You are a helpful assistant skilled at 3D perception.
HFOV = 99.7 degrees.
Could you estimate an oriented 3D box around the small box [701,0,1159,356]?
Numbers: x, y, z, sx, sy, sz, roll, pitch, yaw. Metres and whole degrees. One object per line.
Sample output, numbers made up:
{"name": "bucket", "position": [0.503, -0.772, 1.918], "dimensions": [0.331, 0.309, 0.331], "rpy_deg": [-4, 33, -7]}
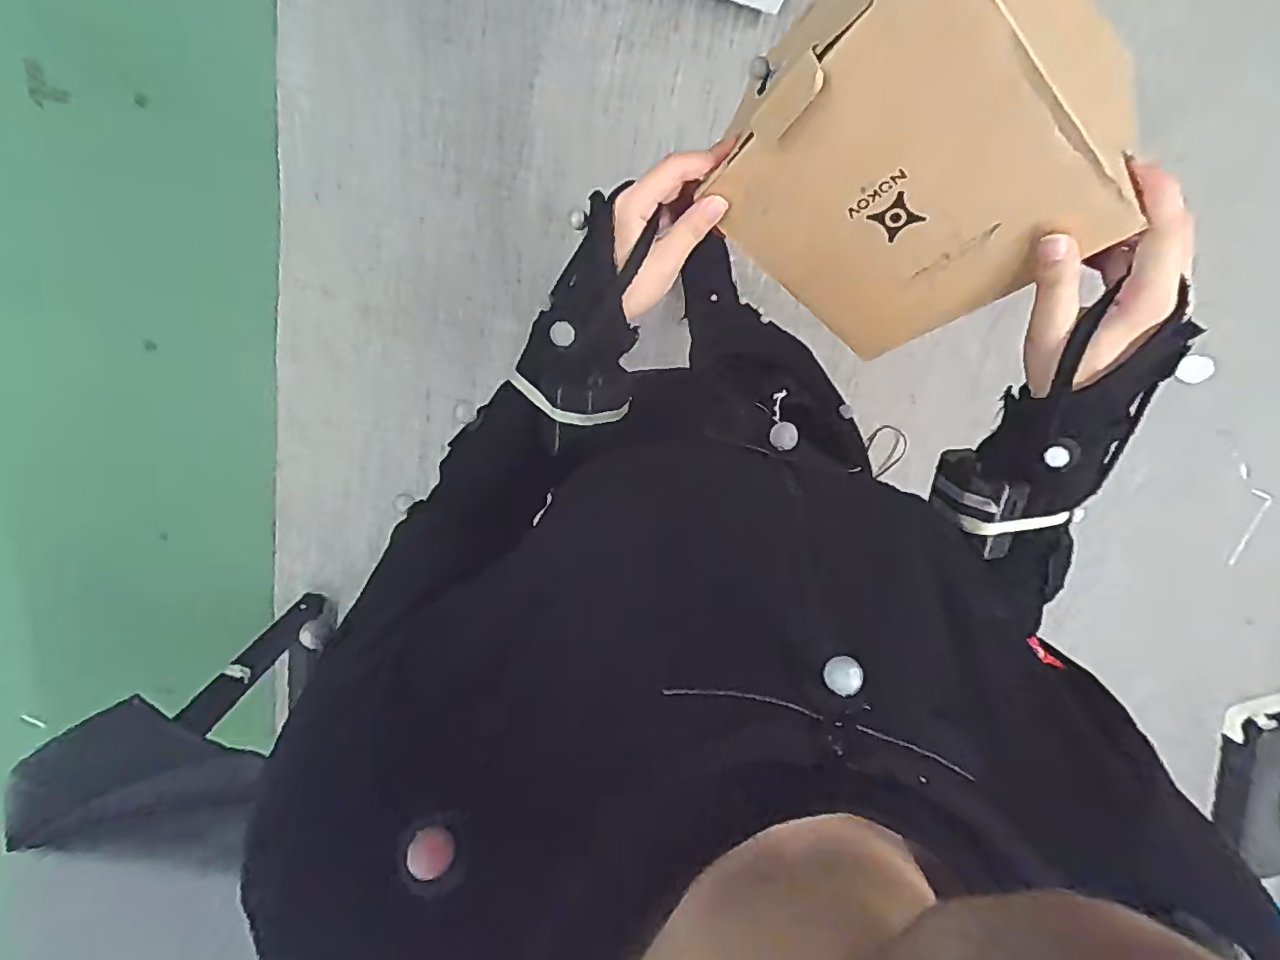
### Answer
{"name": "small box", "position": [0.172, -0.219, 0.336], "dimensions": [0.179, 0.168, 0.176], "rpy_deg": [32, 63, -20]}
